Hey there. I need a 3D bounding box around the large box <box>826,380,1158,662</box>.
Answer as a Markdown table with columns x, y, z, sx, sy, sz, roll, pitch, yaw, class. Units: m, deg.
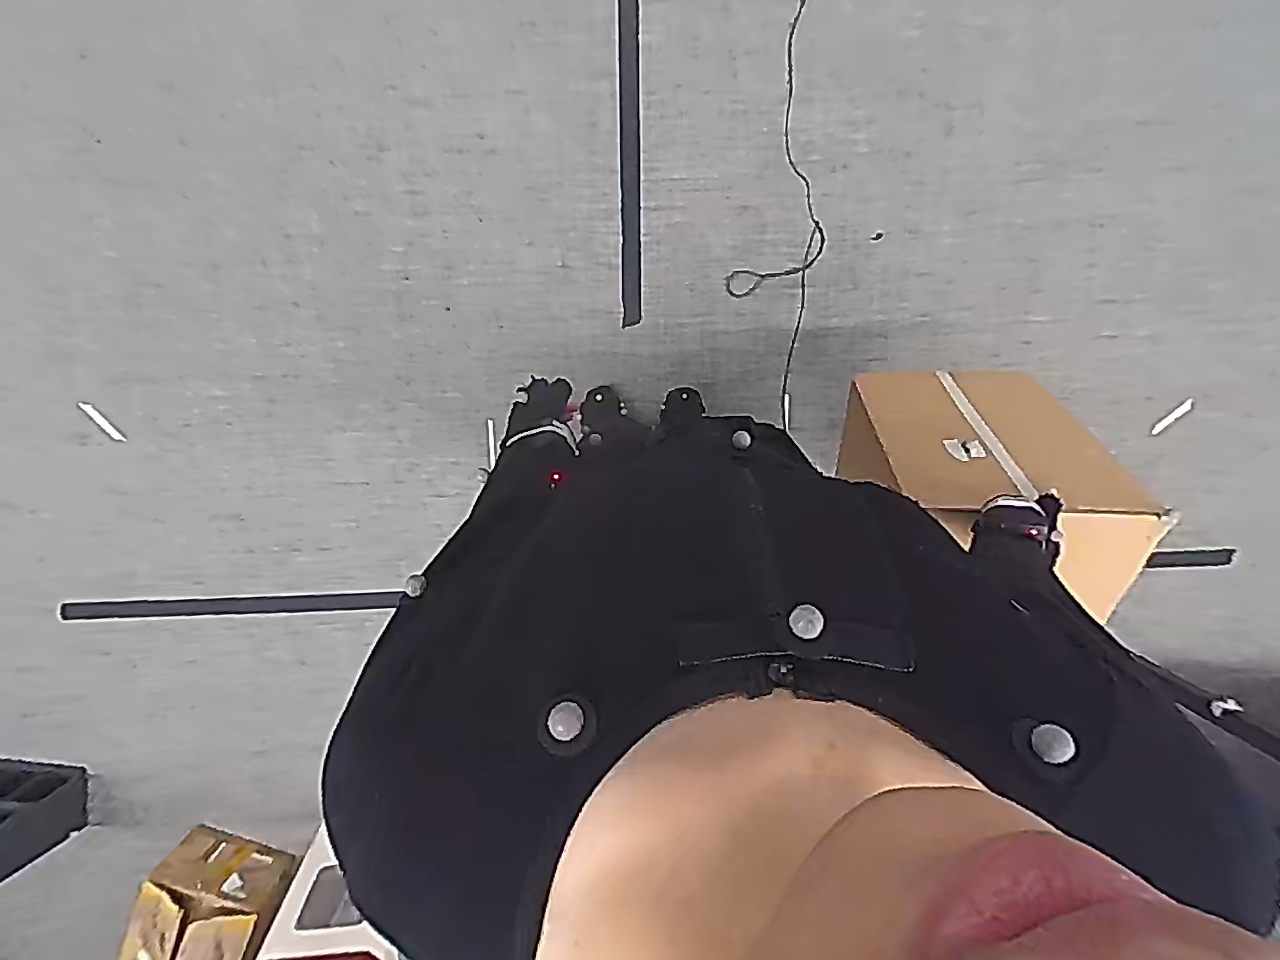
| x | y | z | sx | sy | sz | roll | pitch | yaw | class |
| --- | --- | --- | --- | --- | --- | --- | --- | --- | --- |
| 0.540 | 0.054 | 0.953 | 0.320 | 0.408 | 0.320 | 0 | 127 | 7 | large box |
